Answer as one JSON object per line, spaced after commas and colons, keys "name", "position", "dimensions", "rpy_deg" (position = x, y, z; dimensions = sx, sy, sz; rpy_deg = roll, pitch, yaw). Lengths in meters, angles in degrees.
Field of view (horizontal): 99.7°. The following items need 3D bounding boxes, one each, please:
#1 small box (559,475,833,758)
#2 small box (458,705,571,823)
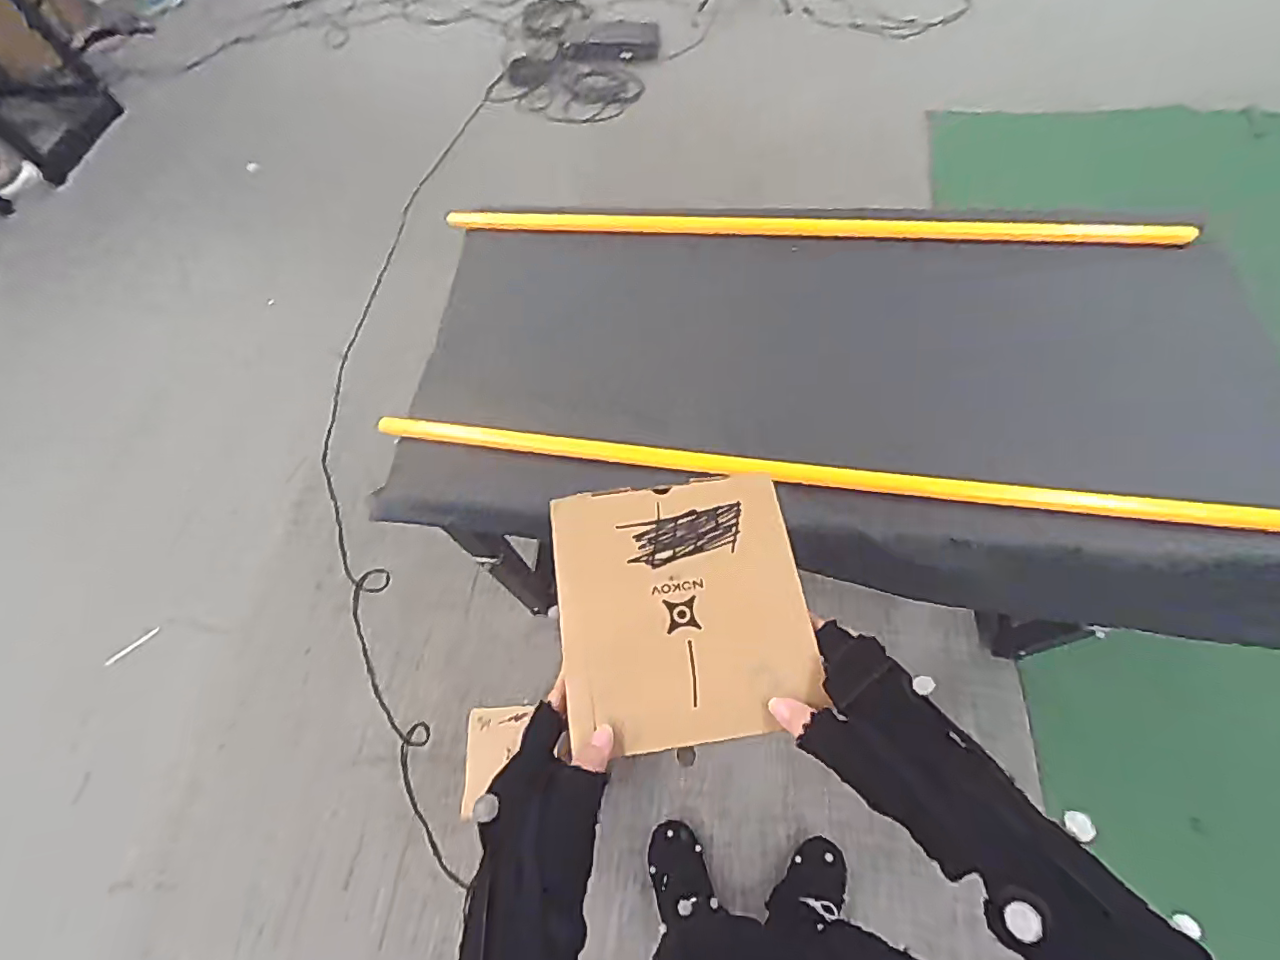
{"name": "small box", "position": [0.029, 0.115, 0.434], "dimensions": [0.168, 0.176, 0.179], "rpy_deg": [-6, 66, -2]}
{"name": "small box", "position": [-0.228, 0.533, 1.024], "dimensions": [0.168, 0.176, 0.179], "rpy_deg": [-7, 62, 3]}
